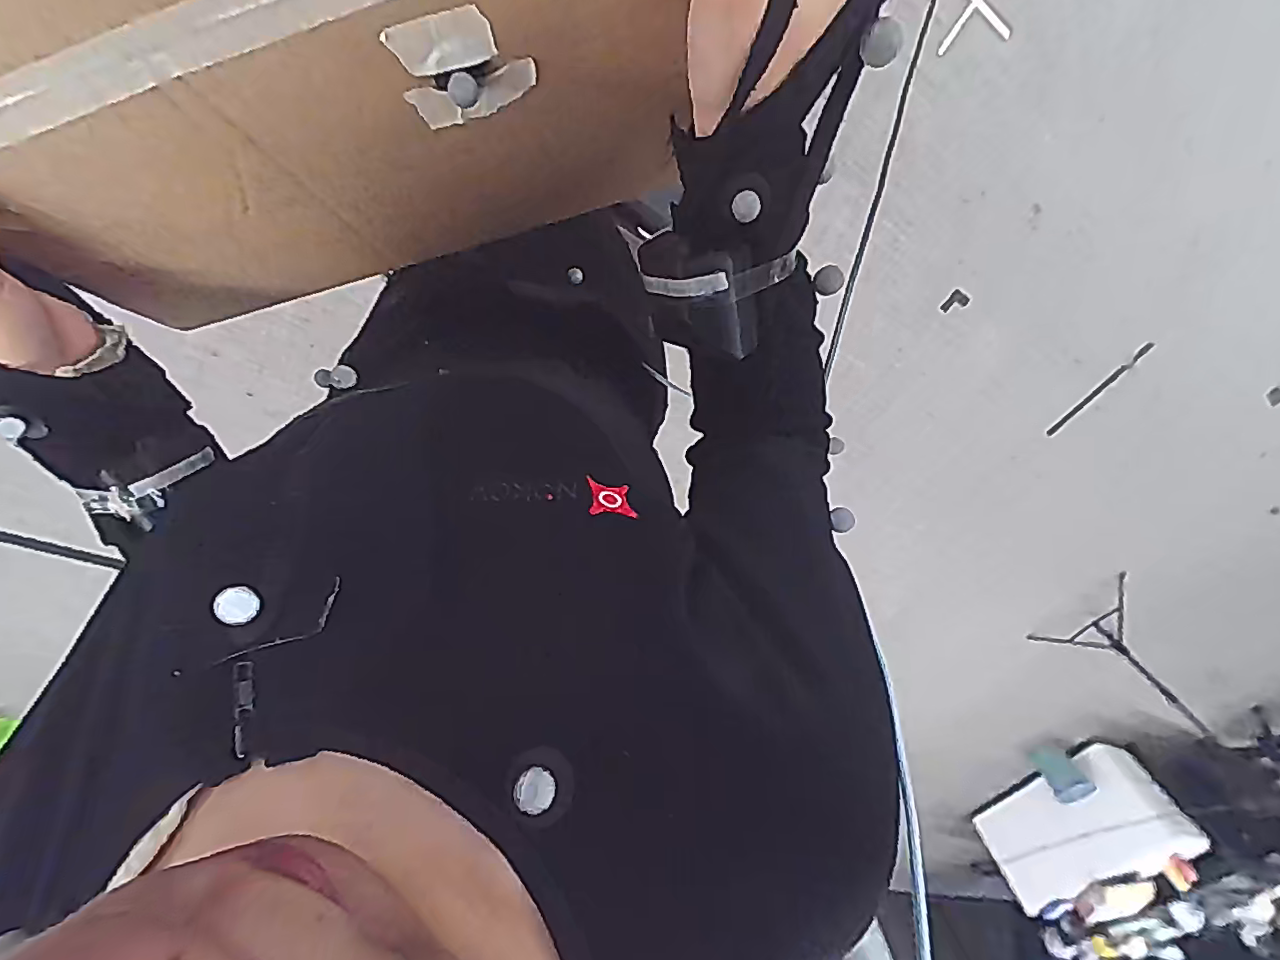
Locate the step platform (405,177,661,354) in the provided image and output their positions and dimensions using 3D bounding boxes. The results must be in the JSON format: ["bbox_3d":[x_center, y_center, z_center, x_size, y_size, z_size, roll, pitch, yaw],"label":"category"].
[{"bbox_3d":[-0.281,-0.580,1.208,0.684,0.204,0.286,30,115,-25],"label":"step platform"}]

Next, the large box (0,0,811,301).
[{"bbox_3d":[-0.163,-0.328,0.203,0.408,0.320,0.320,-13,169,8],"label":"large box"}]
